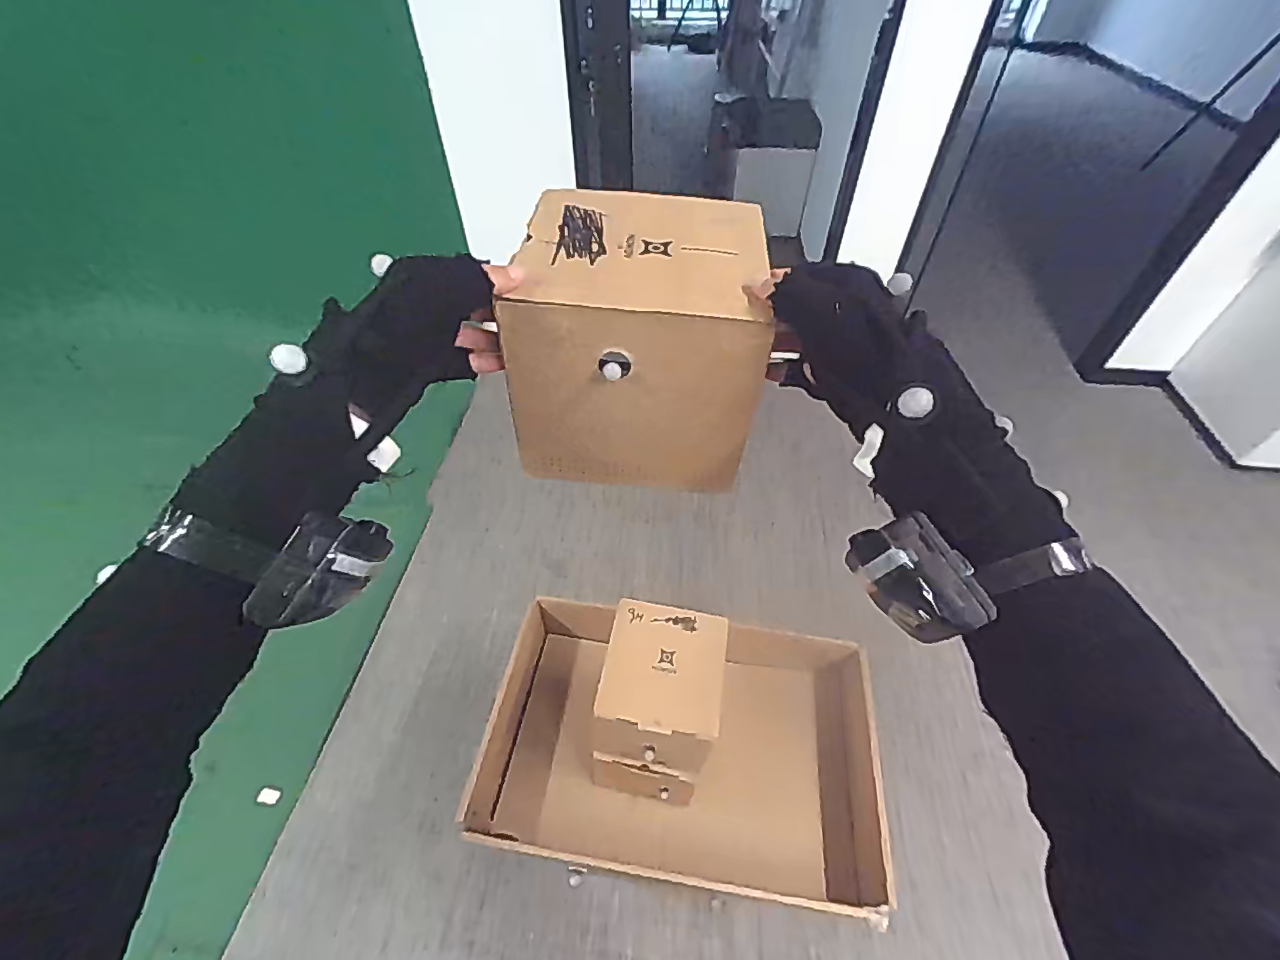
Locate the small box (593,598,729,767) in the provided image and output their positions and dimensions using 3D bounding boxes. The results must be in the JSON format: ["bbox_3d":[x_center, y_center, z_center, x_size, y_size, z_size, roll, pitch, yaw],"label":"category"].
[{"bbox_3d":[0.032,0.307,0.809,0.168,0.176,0.179,10,49,5],"label":"small box"}]

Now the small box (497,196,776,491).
[{"bbox_3d":[0.000,-0.107,0.441,0.179,0.176,0.168,5,49,0],"label":"small box"}]

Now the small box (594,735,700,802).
[{"bbox_3d":[0.023,0.424,0.925,0.168,0.176,0.179,10,47,6],"label":"small box"}]
